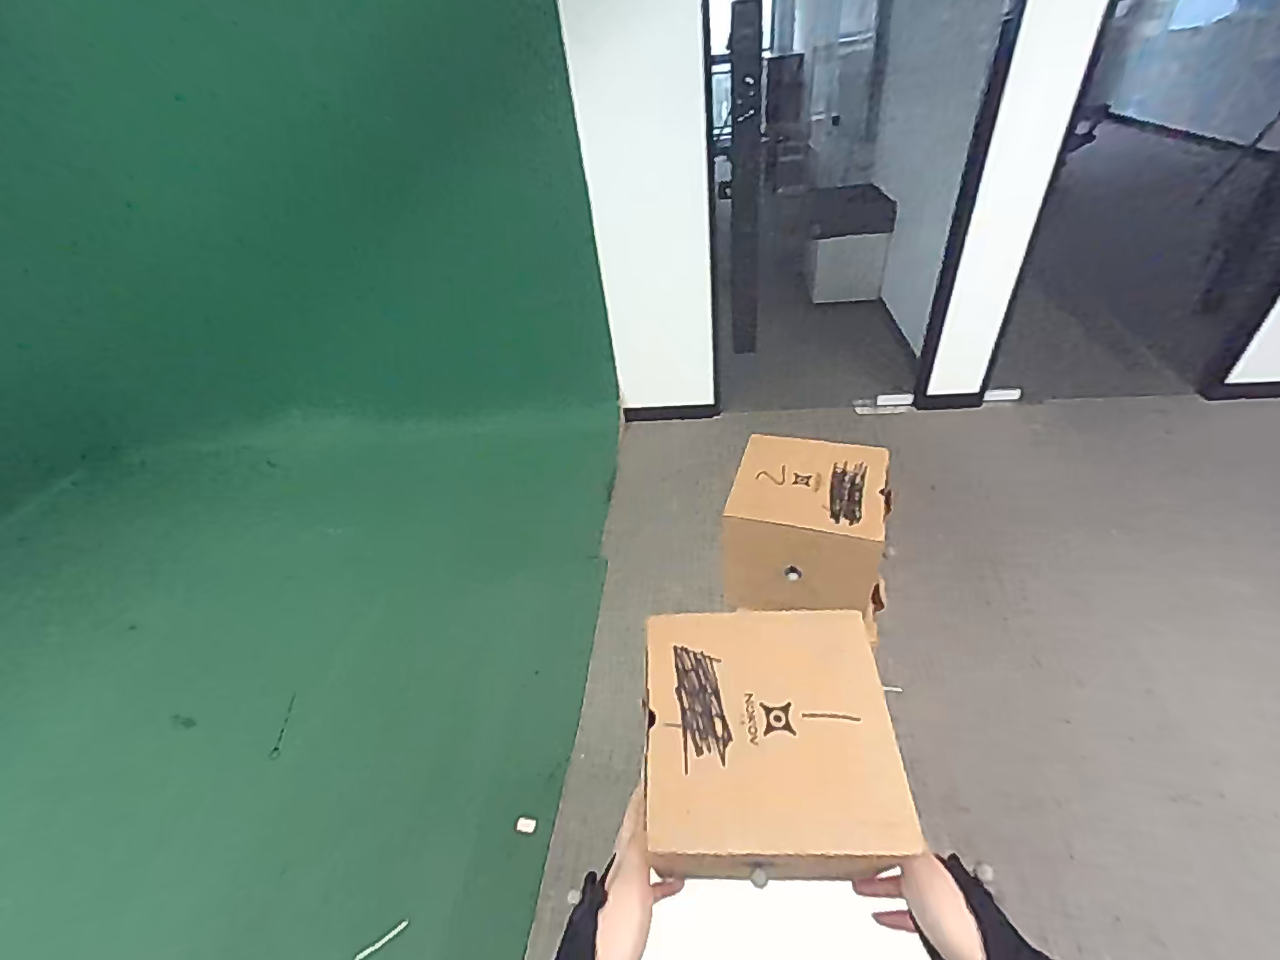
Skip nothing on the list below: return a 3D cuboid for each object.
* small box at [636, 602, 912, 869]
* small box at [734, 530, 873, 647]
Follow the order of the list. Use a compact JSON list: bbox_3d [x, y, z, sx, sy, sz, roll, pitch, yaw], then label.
[{"bbox_3d":[0.093,0.216,0.452,0.179,0.176,0.168,-2,50,4],"label":"small box"},{"bbox_3d":[0.234,0.196,0.794,0.179,0.176,0.168,5,42,15],"label":"small box"}]
